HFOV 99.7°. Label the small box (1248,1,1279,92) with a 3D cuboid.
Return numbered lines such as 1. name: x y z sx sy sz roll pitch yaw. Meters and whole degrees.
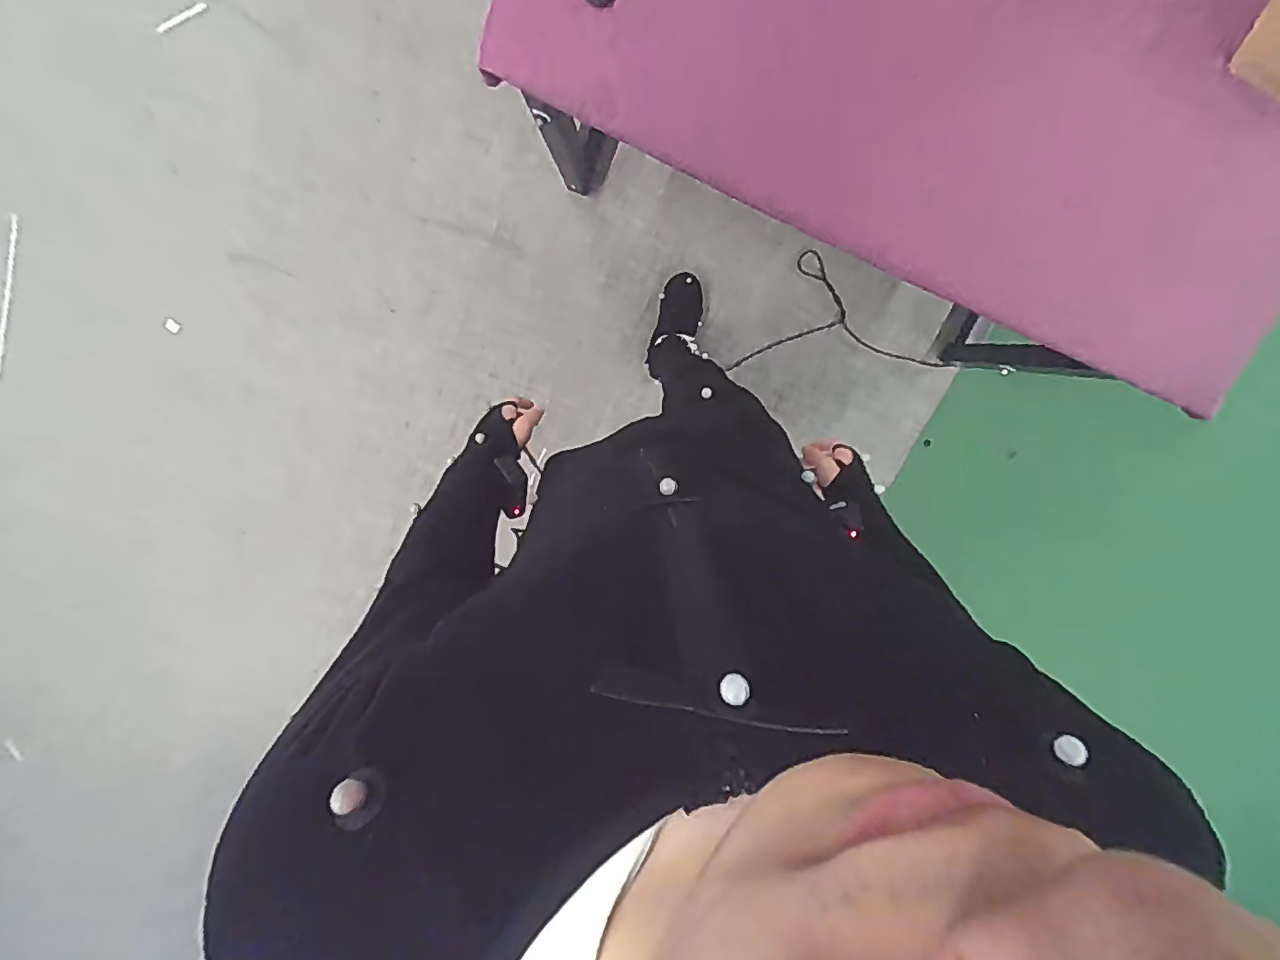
1. small box: 0.896 -0.569 0.623 0.168 0.176 0.179 25 103 -5
